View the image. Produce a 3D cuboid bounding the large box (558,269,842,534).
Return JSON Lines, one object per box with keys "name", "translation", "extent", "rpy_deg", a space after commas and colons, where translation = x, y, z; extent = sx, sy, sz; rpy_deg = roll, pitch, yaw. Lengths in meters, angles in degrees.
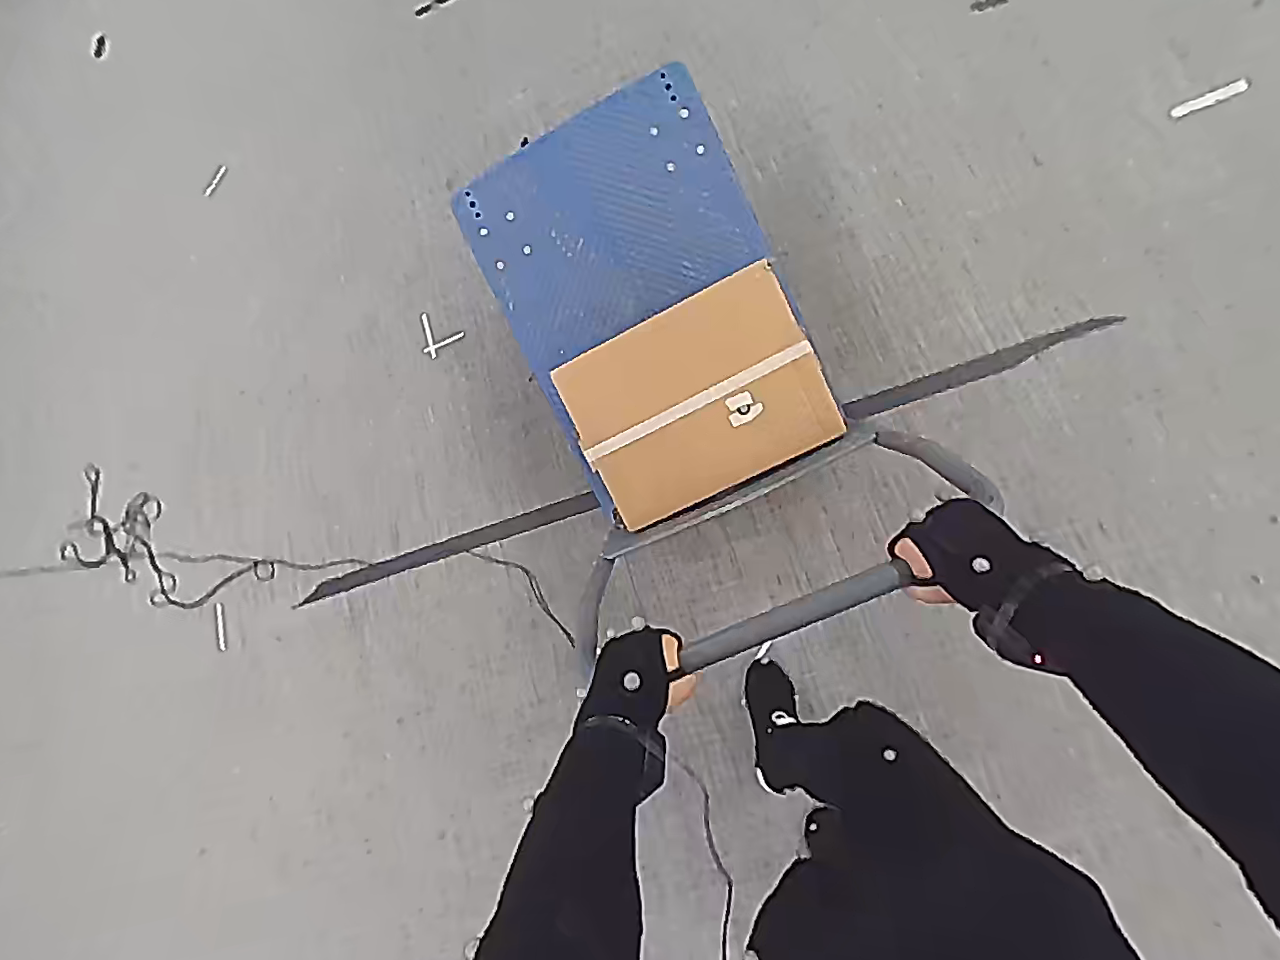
{"name": "large box", "translation": [0.110, -0.141, 1.068], "extent": [0.408, 0.320, 0.320], "rpy_deg": [-26, 95, 8]}
